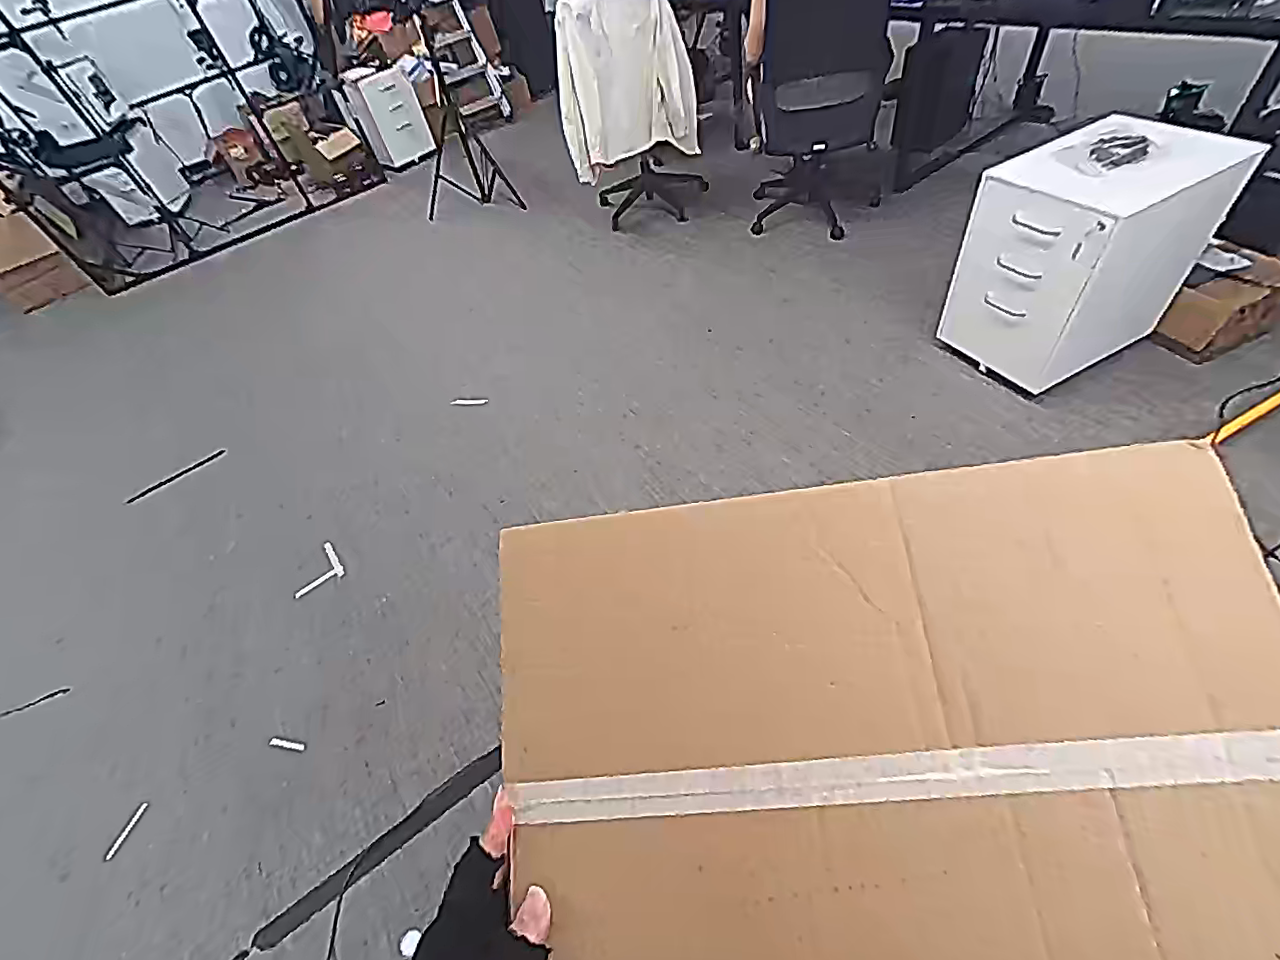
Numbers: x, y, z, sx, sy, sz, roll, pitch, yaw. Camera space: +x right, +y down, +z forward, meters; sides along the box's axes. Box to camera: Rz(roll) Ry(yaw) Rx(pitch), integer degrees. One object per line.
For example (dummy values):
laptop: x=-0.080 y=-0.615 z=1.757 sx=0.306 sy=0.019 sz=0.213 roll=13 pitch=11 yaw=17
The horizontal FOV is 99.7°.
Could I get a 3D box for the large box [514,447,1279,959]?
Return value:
large box: x=0.150 y=0.197 z=0.427 sx=0.408 sy=0.320 sz=0.320 roll=-8 pitch=73 yaw=8
